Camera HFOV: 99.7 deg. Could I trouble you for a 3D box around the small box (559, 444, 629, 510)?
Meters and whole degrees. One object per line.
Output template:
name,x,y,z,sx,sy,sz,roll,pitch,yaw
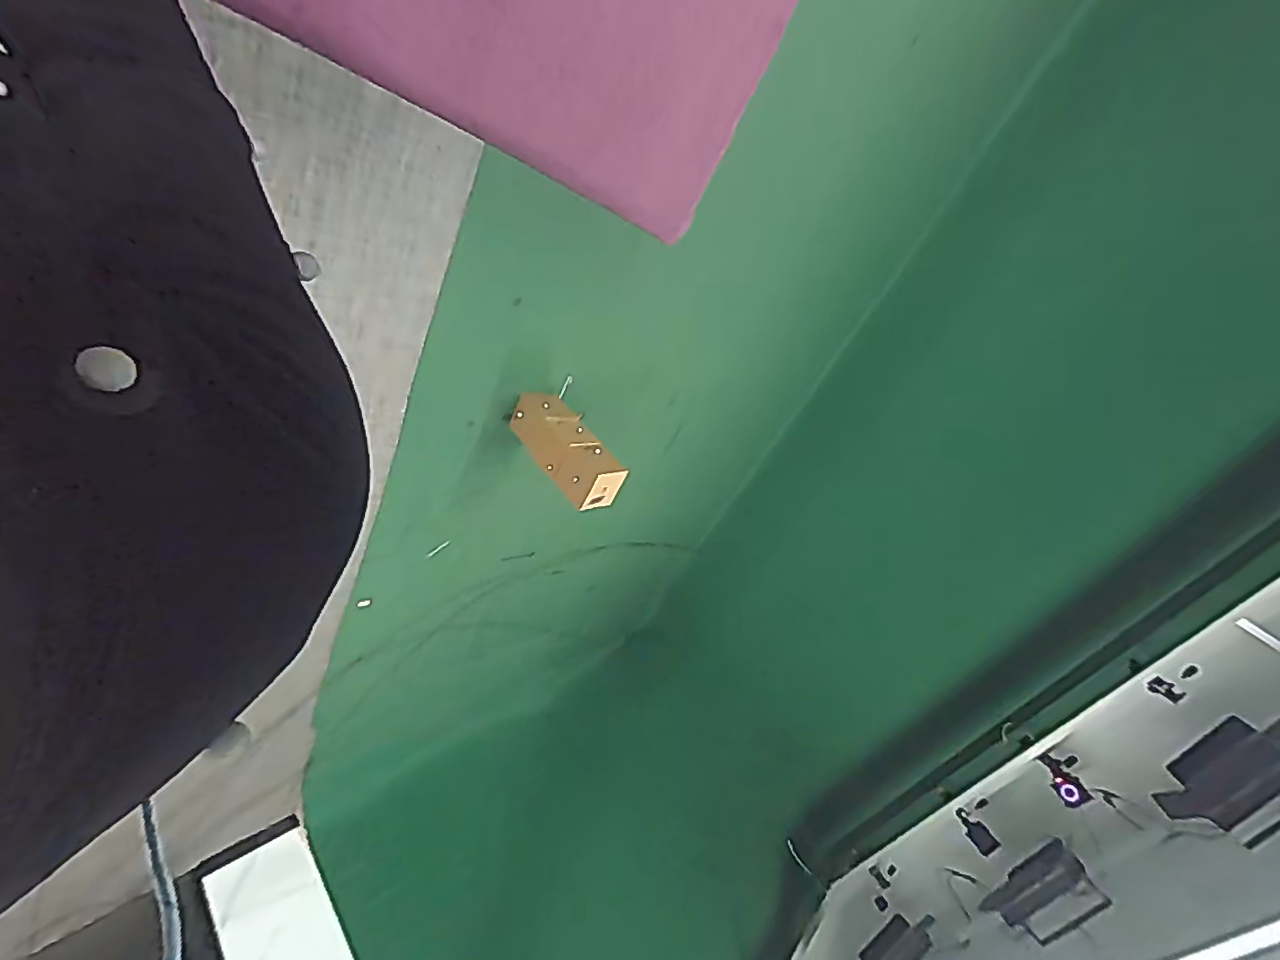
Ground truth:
small box,-0.179,-0.016,2.023,0.168,0.176,0.179,-10,137,-49

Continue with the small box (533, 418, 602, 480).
small box,-0.285,-0.126,2.085,0.168,0.176,0.179,-8,137,-50
